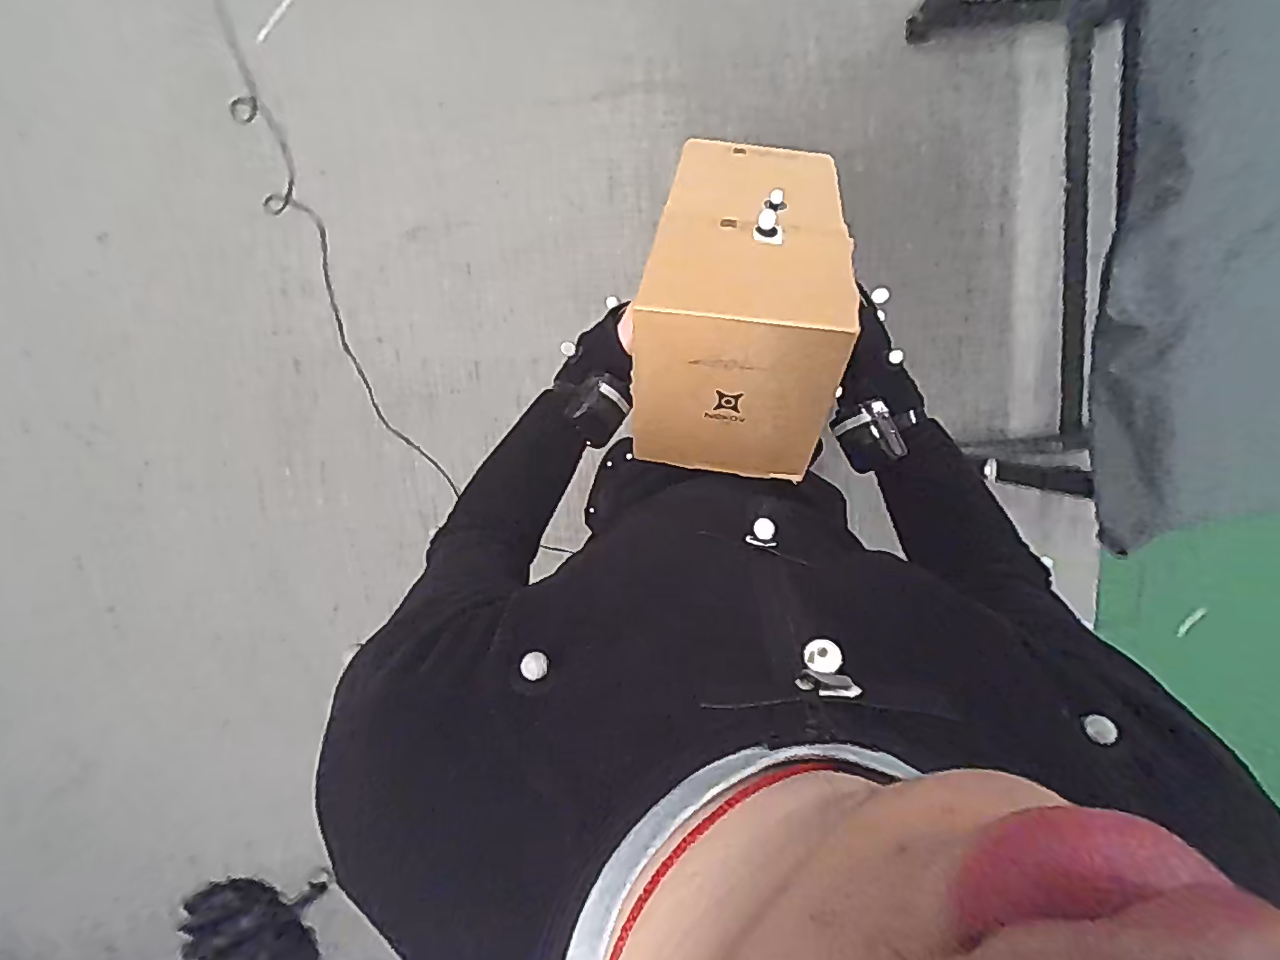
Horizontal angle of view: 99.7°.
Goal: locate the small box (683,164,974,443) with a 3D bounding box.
[{"bbox_3d":[0.170,-0.169,0.525,0.179,0.168,0.176,18,124,-23],"label":"small box"}]
